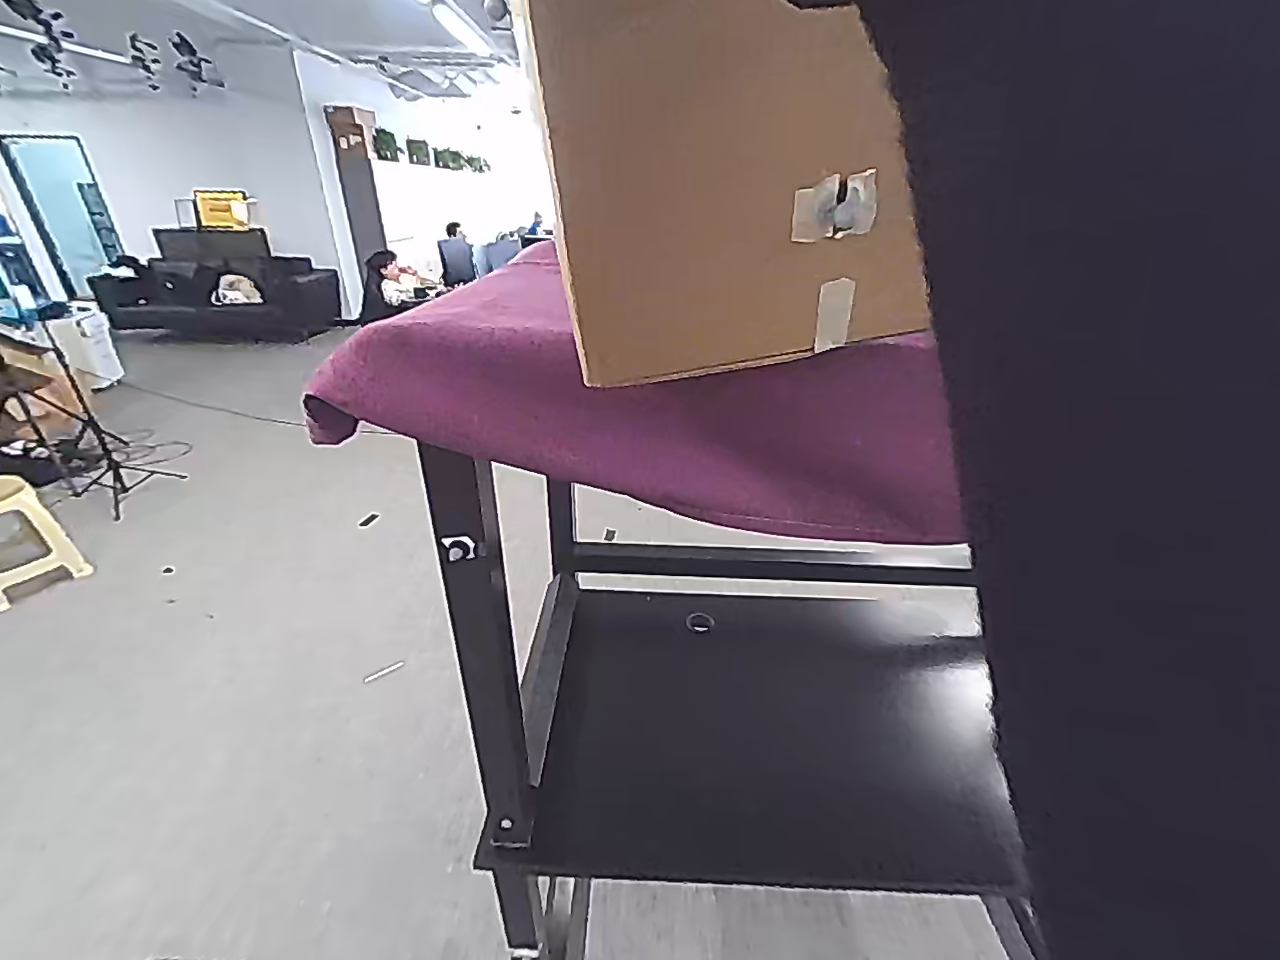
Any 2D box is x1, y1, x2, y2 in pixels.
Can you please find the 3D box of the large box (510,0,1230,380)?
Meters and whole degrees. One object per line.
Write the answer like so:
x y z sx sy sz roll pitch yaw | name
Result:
0.074 -0.326 0.347 0.320 0.320 0.408 -10 51 -6 | large box
